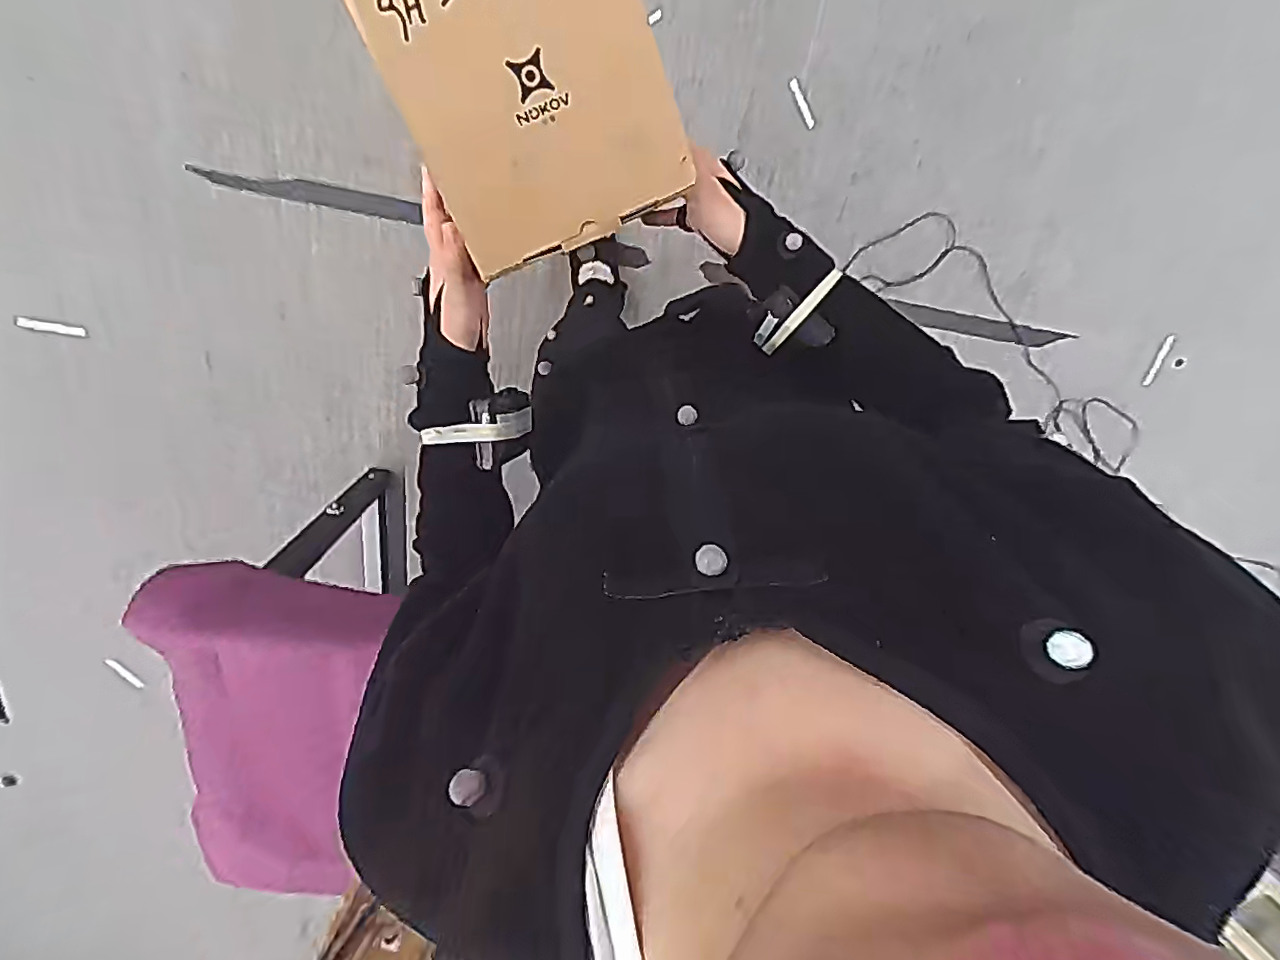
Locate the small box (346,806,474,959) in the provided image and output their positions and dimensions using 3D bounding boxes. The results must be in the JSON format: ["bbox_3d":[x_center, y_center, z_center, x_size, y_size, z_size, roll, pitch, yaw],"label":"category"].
[{"bbox_3d":[-0.392,0.710,0.944,0.168,0.176,0.179,8,111,-8],"label":"small box"}]

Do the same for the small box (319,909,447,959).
[{"bbox_3d":[-0.389,0.775,0.794,0.168,0.176,0.179,5,110,-7],"label":"small box"}]

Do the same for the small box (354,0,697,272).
[{"bbox_3d":[-0.077,-0.276,0.406,0.168,0.176,0.179,-24,115,-2],"label":"small box"}]
